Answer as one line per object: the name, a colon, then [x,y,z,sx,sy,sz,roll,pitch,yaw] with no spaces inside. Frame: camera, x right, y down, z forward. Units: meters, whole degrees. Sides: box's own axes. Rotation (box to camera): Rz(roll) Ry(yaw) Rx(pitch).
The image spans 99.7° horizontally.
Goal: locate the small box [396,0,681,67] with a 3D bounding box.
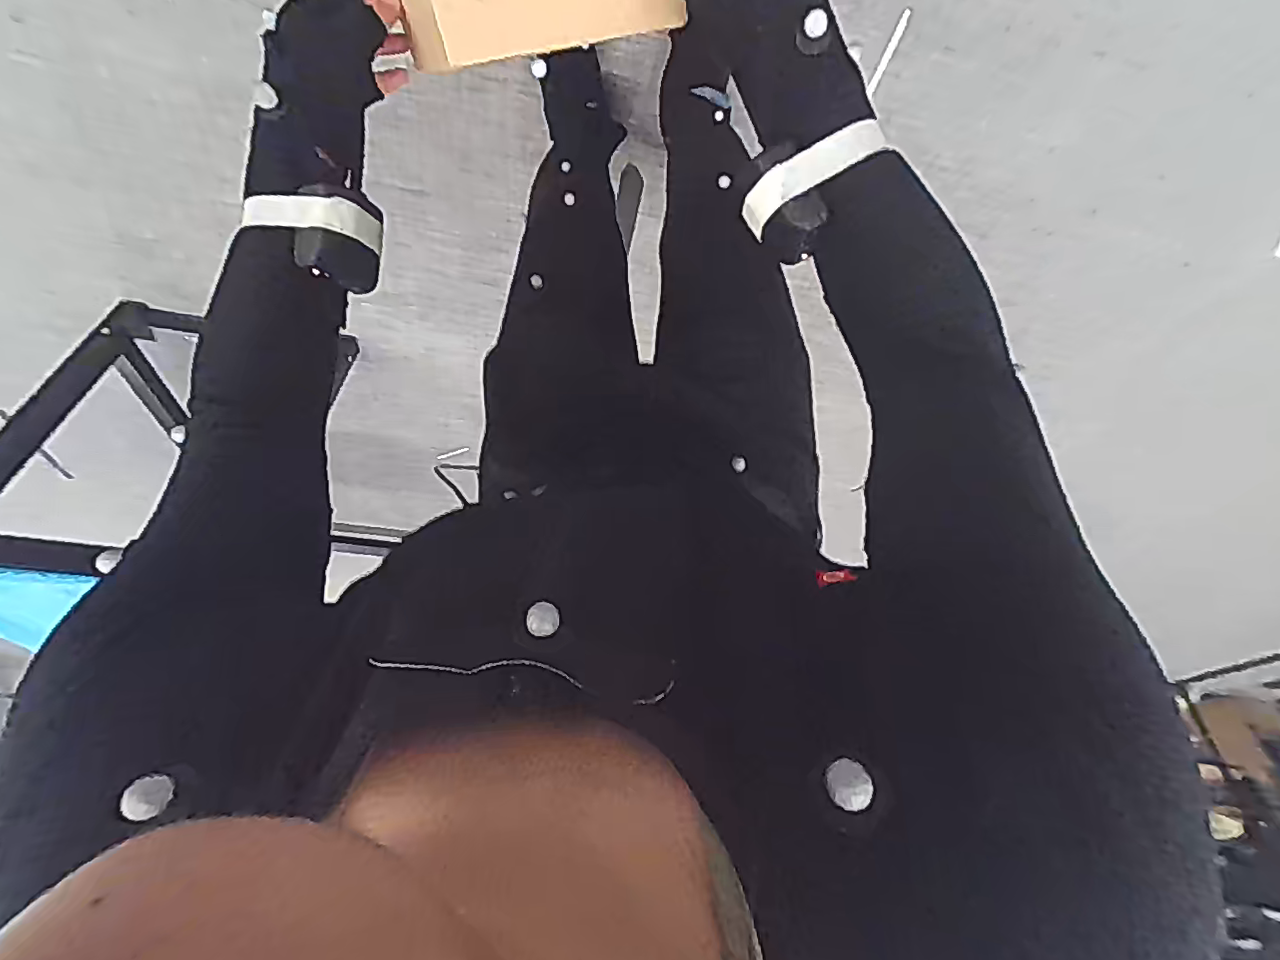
small box: [-0.091,-0.408,0.379,0.179,0.176,0.168,-22,131,-13]
